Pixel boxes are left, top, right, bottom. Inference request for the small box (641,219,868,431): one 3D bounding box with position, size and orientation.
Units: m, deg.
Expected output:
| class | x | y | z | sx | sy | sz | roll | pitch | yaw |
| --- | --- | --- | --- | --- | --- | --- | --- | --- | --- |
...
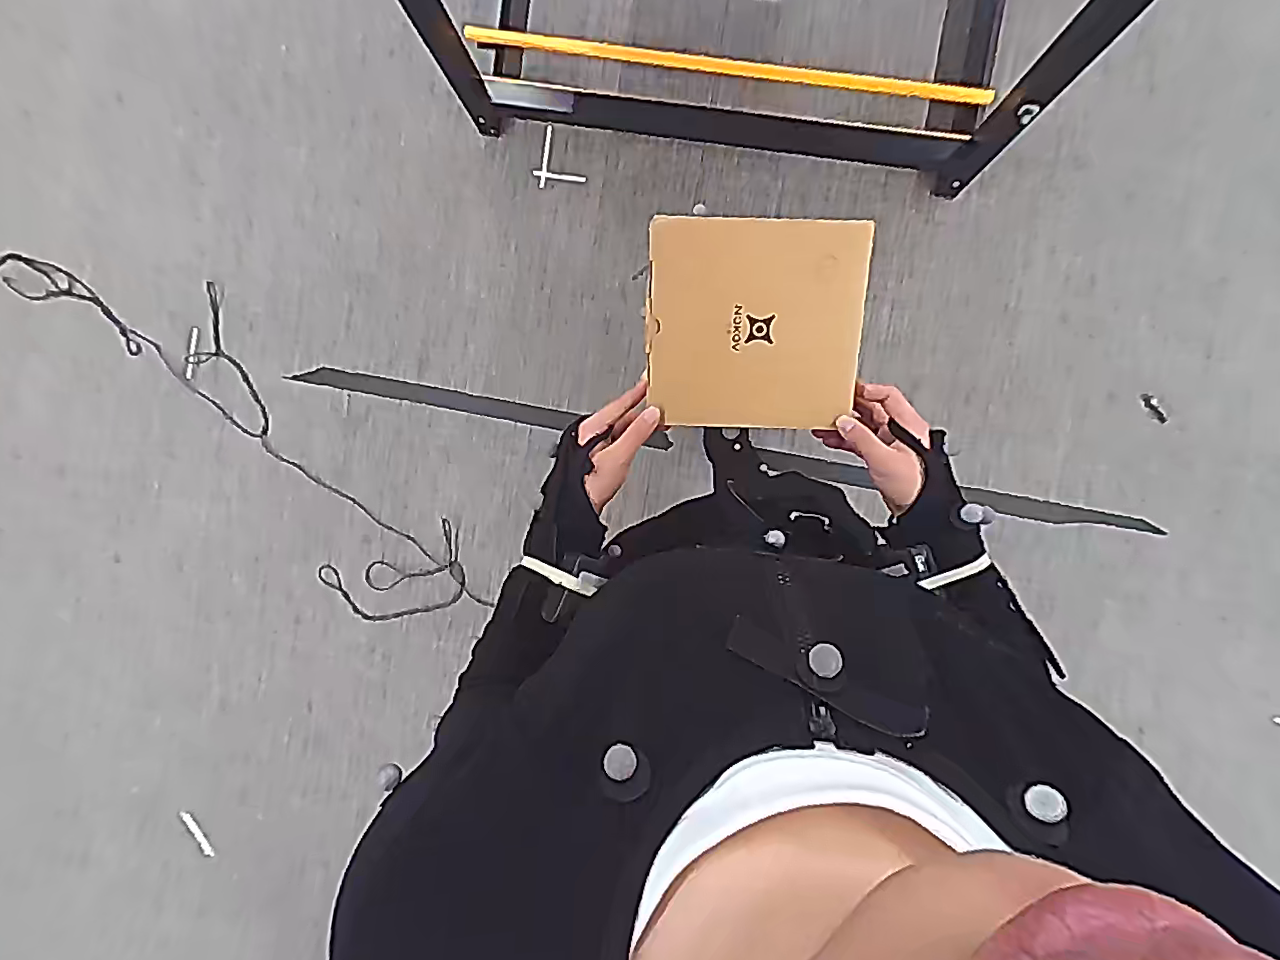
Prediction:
| class | x | y | z | sx | sy | sz | roll | pitch | yaw |
| --- | --- | --- | --- | --- | --- | --- | --- | --- | --- |
| small box | 0.093 | -0.144 | 0.517 | 0.179 | 0.176 | 0.168 | 1 | 104 | 3 |
